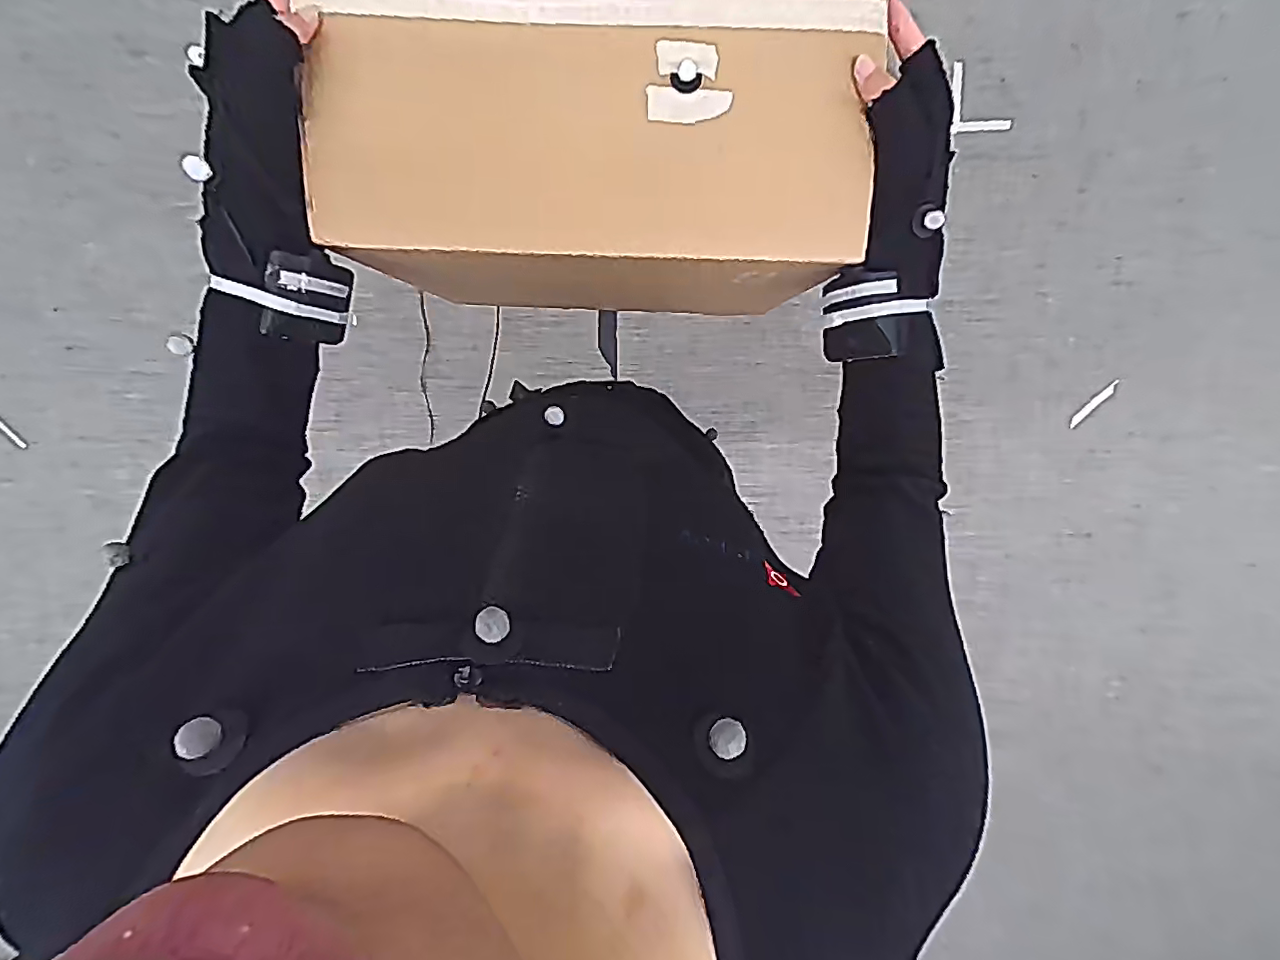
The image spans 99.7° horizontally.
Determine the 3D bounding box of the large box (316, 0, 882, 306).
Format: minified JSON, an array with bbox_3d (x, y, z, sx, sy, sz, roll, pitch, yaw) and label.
[{"bbox_3d":[-0.032,-0.352,0.527,0.408,0.320,0.320,1,100,-1],"label":"large box"}]
